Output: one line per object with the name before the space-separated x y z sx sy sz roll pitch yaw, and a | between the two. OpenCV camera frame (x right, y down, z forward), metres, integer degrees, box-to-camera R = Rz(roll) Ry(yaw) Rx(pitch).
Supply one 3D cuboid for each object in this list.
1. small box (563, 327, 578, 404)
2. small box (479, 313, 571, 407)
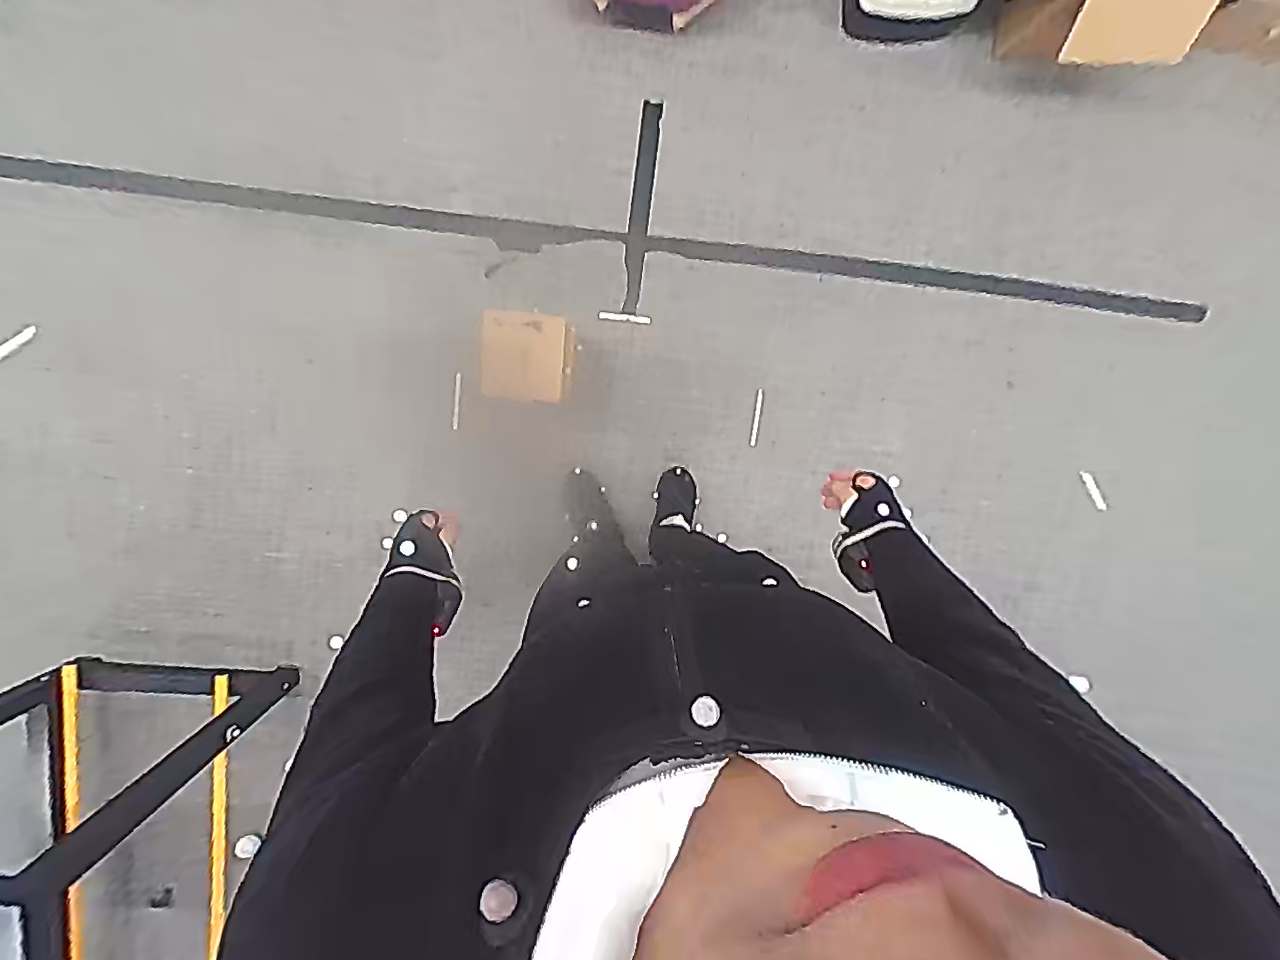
small box | -0.246 -0.286 1.343 0.168 0.176 0.179 7 97 -4
small box | -0.244 -0.255 1.182 0.168 0.176 0.179 5 98 -4
